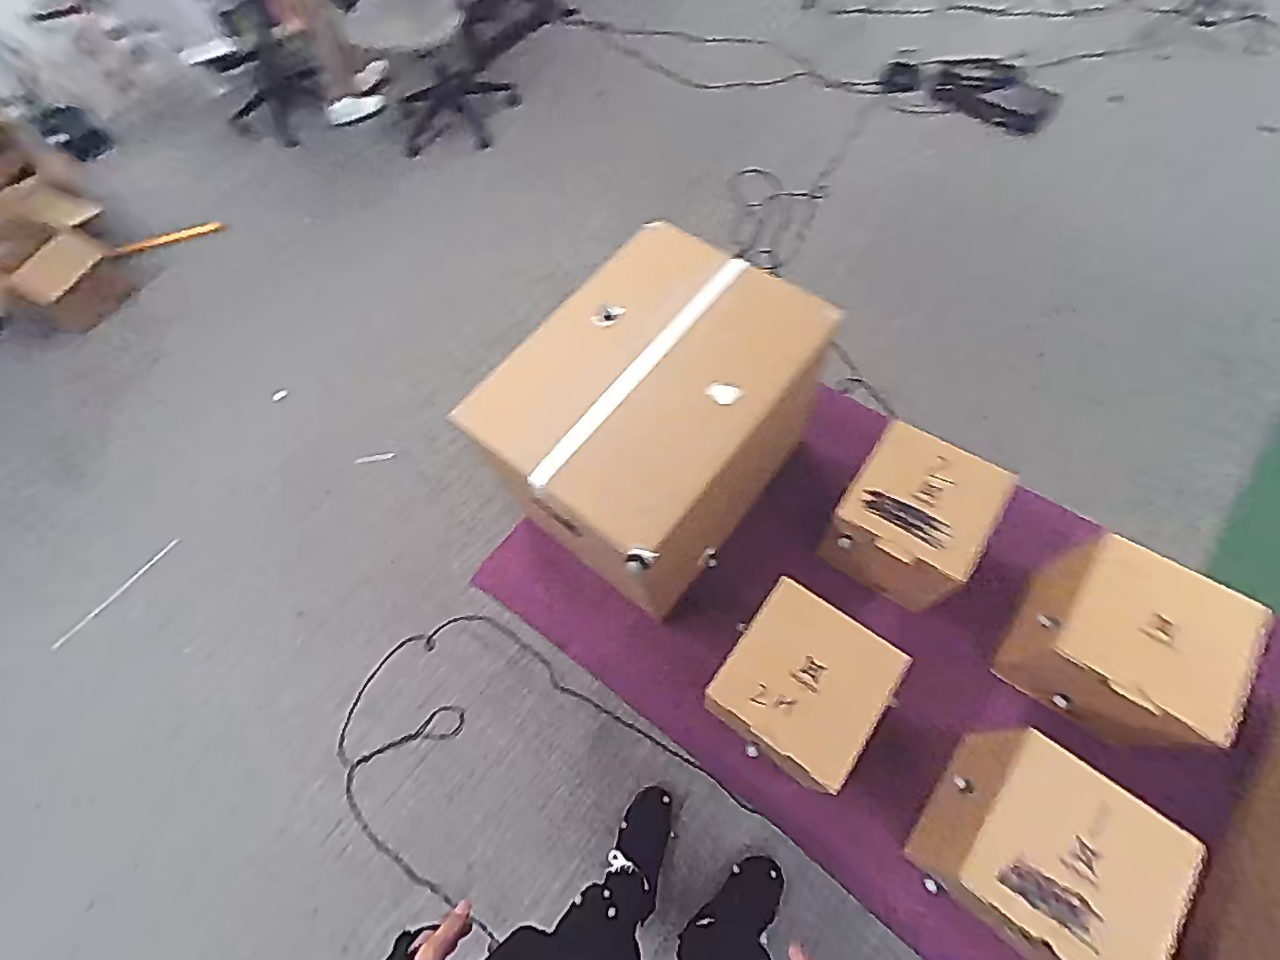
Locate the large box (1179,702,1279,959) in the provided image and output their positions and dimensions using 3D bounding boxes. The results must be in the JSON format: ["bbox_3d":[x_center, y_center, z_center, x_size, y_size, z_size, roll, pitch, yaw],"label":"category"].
[{"bbox_3d":[0.790,0.439,0.455,0.320,0.320,0.408,35,73,22],"label":"large box"}]

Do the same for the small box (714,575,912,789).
[{"bbox_3d":[0.204,0.257,0.687,0.168,0.176,0.179,32,70,22],"label":"small box"}]
